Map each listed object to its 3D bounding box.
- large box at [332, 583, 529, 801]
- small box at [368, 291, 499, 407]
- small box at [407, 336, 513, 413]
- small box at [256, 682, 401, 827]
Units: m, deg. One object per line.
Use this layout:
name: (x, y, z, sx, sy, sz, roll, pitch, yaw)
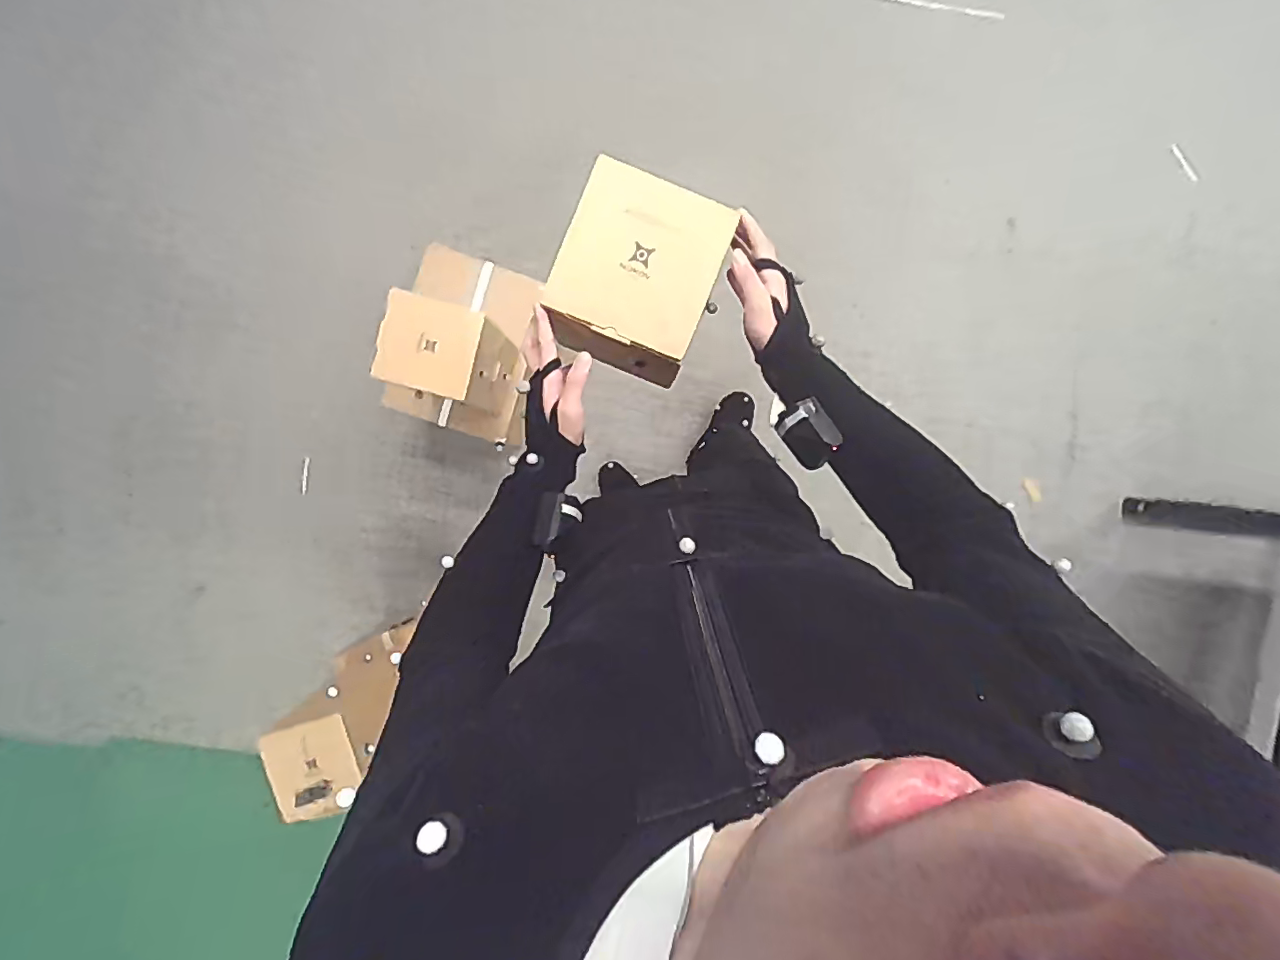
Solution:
large box: (-0.548, 0.558, 1.493, 0.320, 0.320, 0.408, -24, 95, 1)
small box: (-0.386, -0.241, 1.042, 0.179, 0.176, 0.168, 14, 93, -3)
small box: (-0.395, -0.249, 1.205, 0.179, 0.176, 0.168, 14, 92, -4)
small box: (-0.606, 0.538, 1.078, 0.168, 0.176, 0.179, -17, 94, -1)
